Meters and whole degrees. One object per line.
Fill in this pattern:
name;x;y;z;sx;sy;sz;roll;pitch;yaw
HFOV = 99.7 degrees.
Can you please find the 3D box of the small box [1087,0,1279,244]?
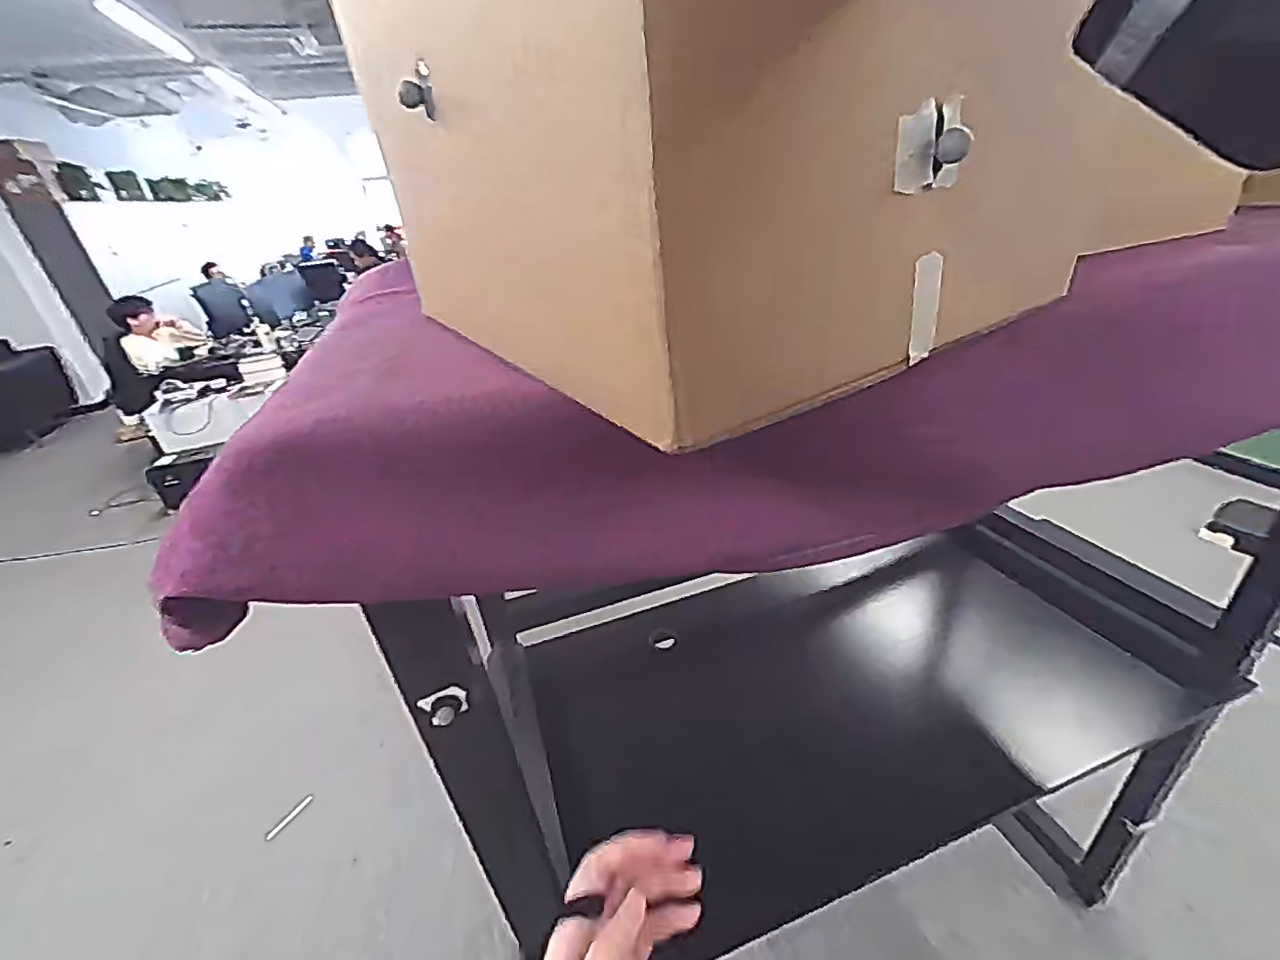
small box;0.404;-0.316;0.489;0.179;0.176;0.168;-14;29;-11
